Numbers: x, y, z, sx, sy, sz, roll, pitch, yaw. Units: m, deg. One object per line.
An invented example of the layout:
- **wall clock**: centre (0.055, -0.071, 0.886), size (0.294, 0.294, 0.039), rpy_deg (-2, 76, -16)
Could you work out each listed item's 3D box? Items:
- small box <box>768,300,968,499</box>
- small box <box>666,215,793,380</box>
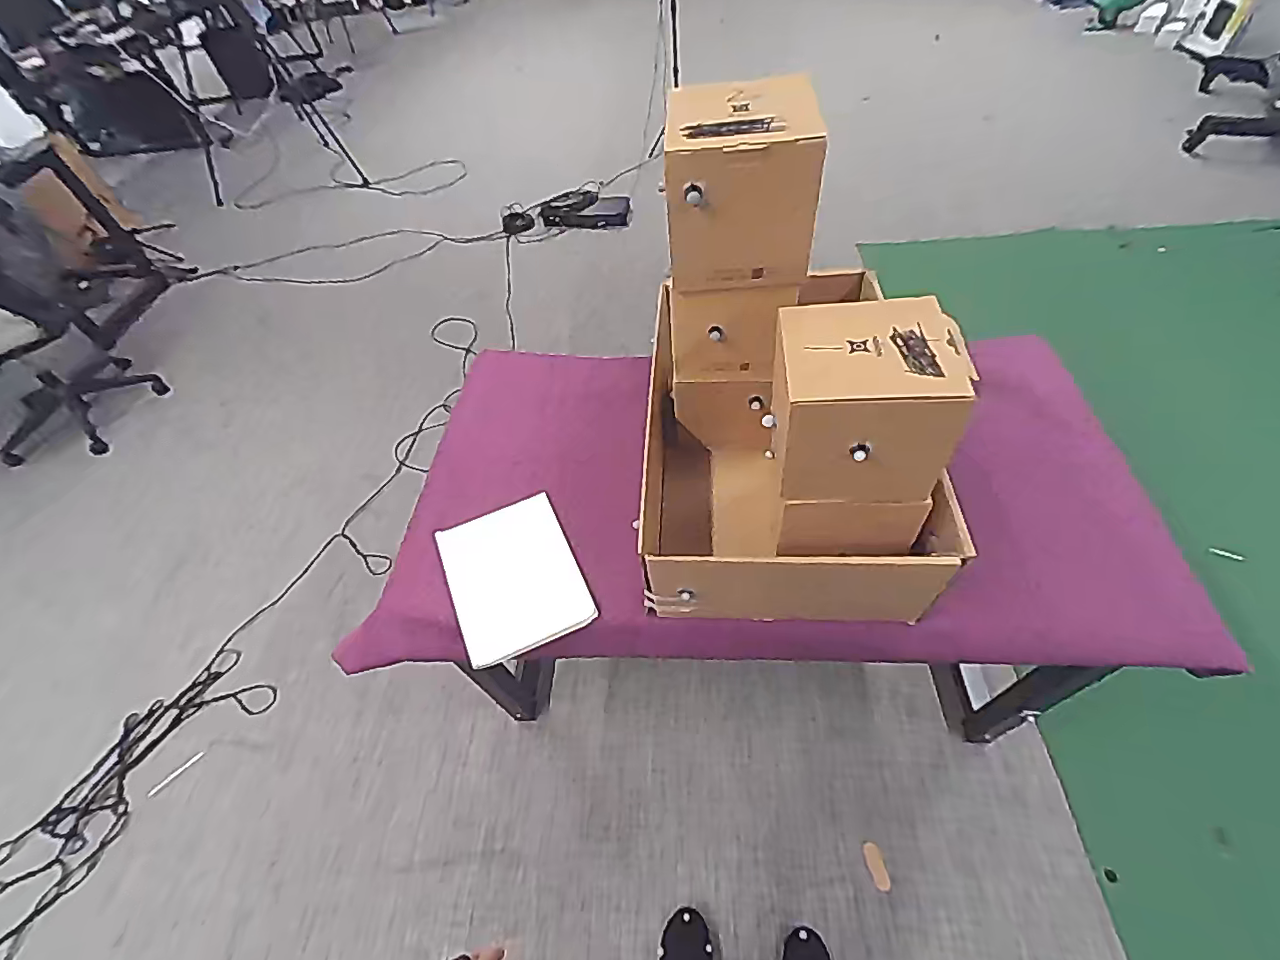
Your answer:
- **small box**: centre (0.248, -0.090, 0.639), size (0.179, 0.176, 0.168), rpy_deg (-1, 50, 10)
- **small box**: centre (0.131, -0.263, 0.801), size (0.168, 0.176, 0.179), rpy_deg (1, 53, 8)
